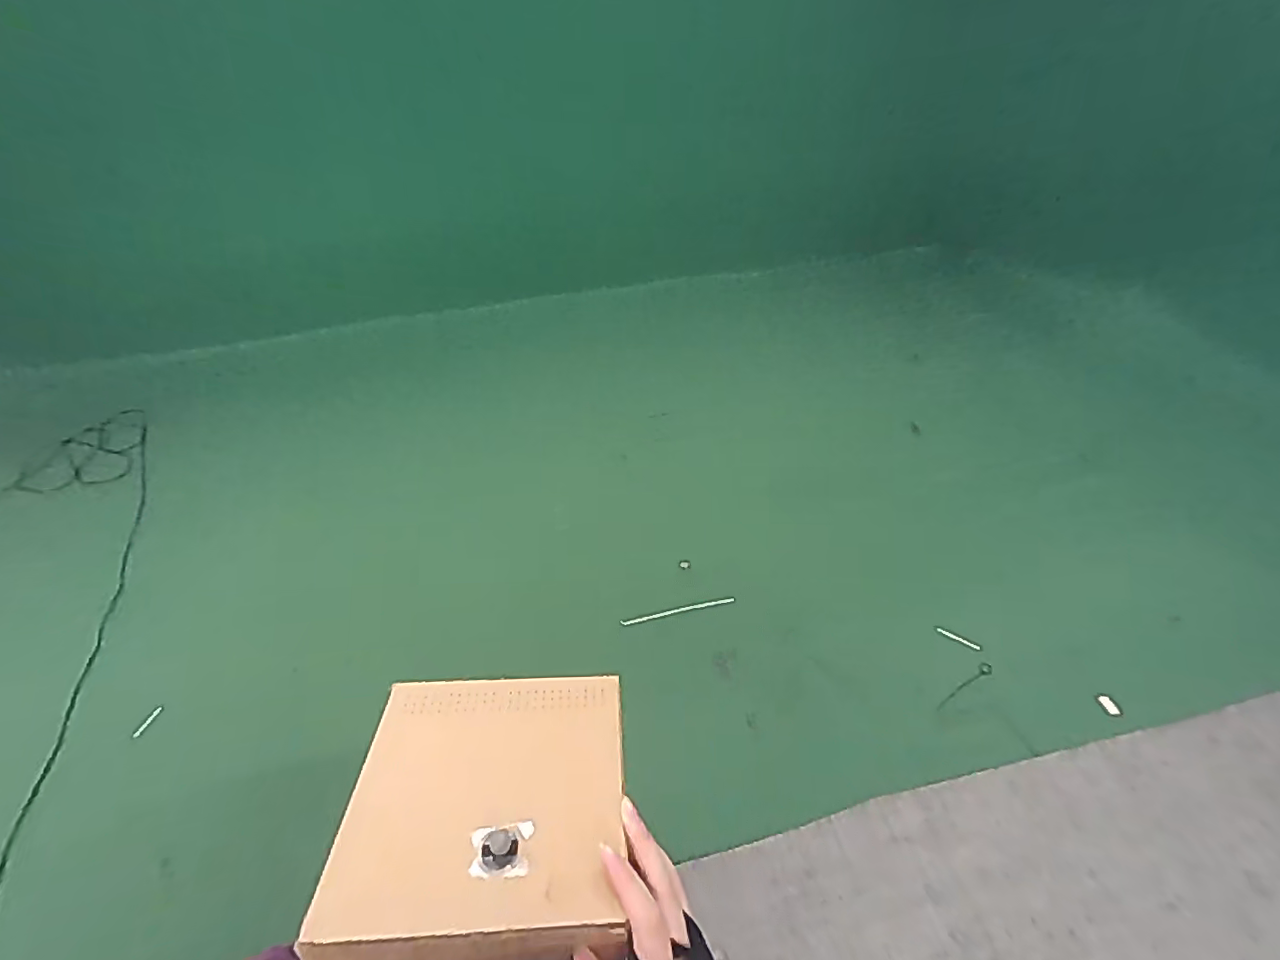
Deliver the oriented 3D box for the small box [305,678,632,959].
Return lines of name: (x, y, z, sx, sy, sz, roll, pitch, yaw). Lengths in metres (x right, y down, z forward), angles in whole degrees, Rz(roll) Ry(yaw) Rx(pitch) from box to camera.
small box: (-0.100, 0.266, 0.400, 0.179, 0.168, 0.176, 0, 30, -4)
